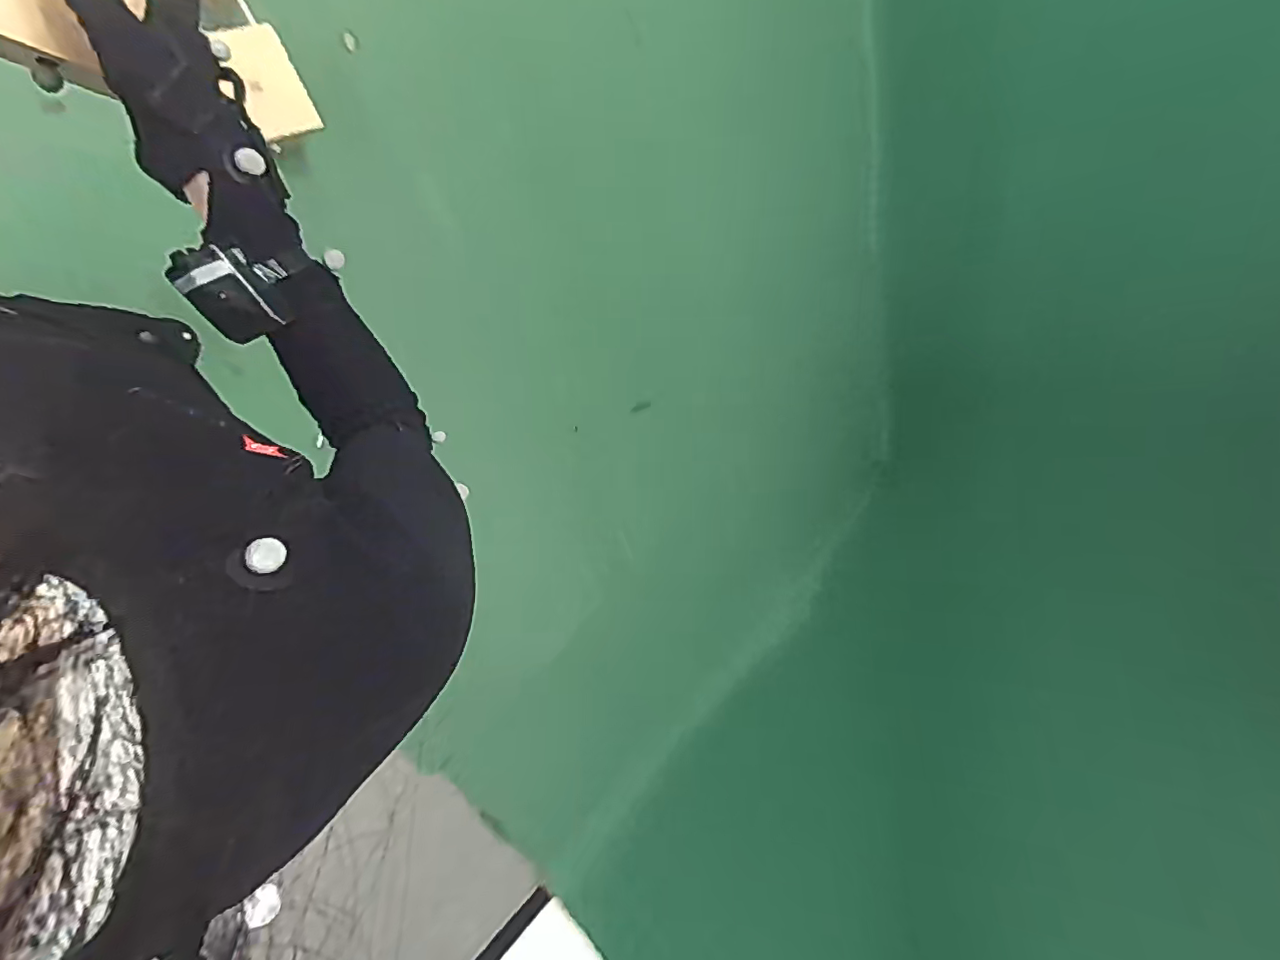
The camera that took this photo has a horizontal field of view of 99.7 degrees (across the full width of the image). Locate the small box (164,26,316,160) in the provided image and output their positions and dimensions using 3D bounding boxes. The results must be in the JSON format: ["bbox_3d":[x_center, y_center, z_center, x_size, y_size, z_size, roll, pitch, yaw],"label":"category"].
[{"bbox_3d":[-0.779,-0.745,1.052,0.179,0.176,0.168,-38,127,-27],"label":"small box"}]
